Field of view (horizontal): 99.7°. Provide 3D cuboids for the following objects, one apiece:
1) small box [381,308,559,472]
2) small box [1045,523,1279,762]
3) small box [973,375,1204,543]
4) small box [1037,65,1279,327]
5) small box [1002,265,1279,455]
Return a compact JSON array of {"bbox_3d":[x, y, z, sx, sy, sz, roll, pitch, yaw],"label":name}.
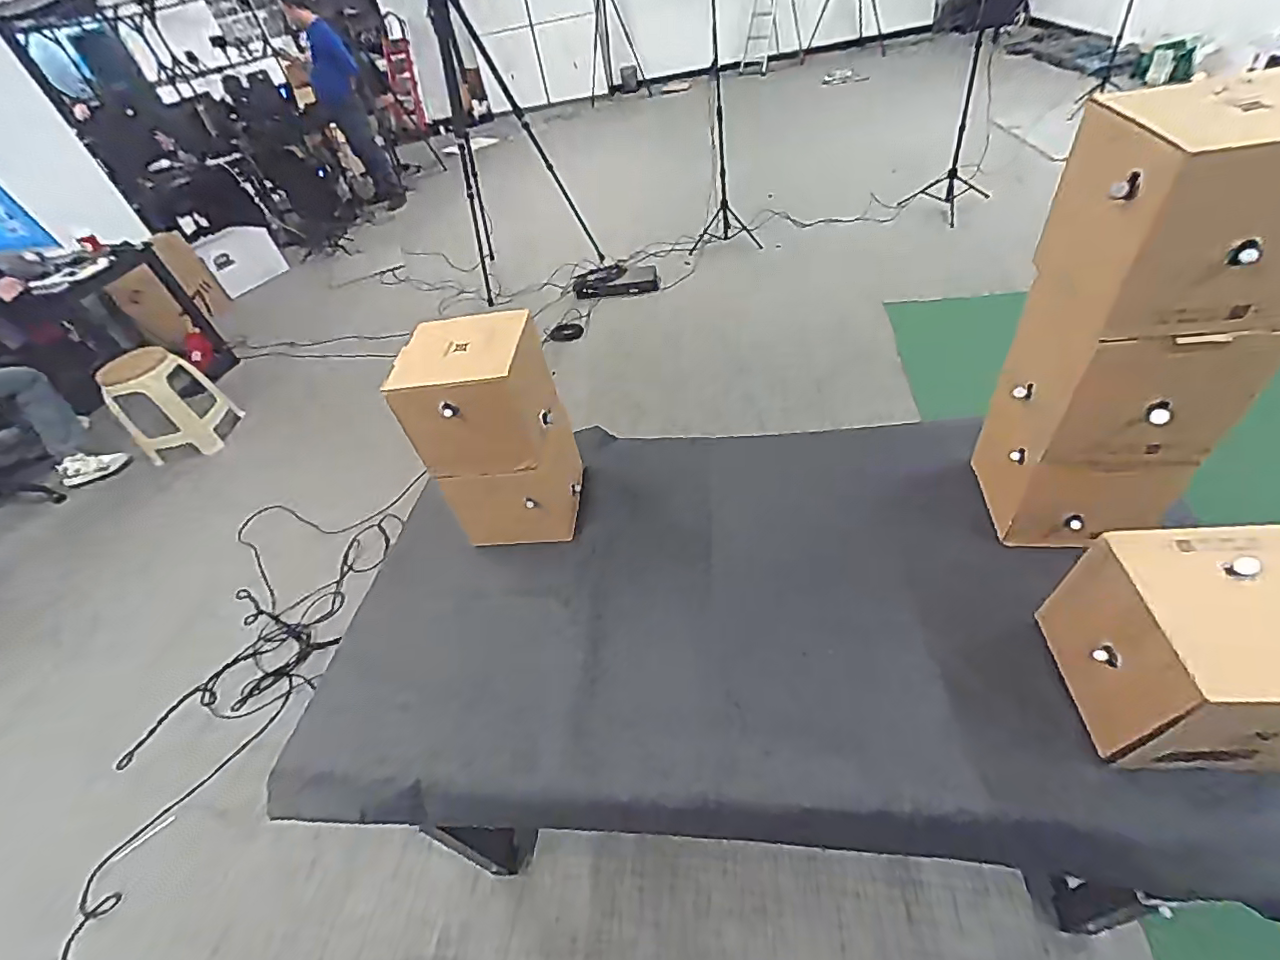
[{"bbox_3d":[-0.232,-0.126,0.790,0.179,0.176,0.168,-4,47,7],"label":"small box"},{"bbox_3d":[0.542,0.160,0.529,0.168,0.179,0.176,-4,48,8],"label":"small box"},{"bbox_3d":[0.583,-0.032,0.739,0.168,0.176,0.179,-1,46,13],"label":"small box"},{"bbox_3d":[0.516,-0.256,0.506,0.168,0.176,0.179,-1,46,12],"label":"small box"},{"bbox_3d":[0.552,-0.142,0.621,0.168,0.176,0.179,0,47,13],"label":"small box"}]
